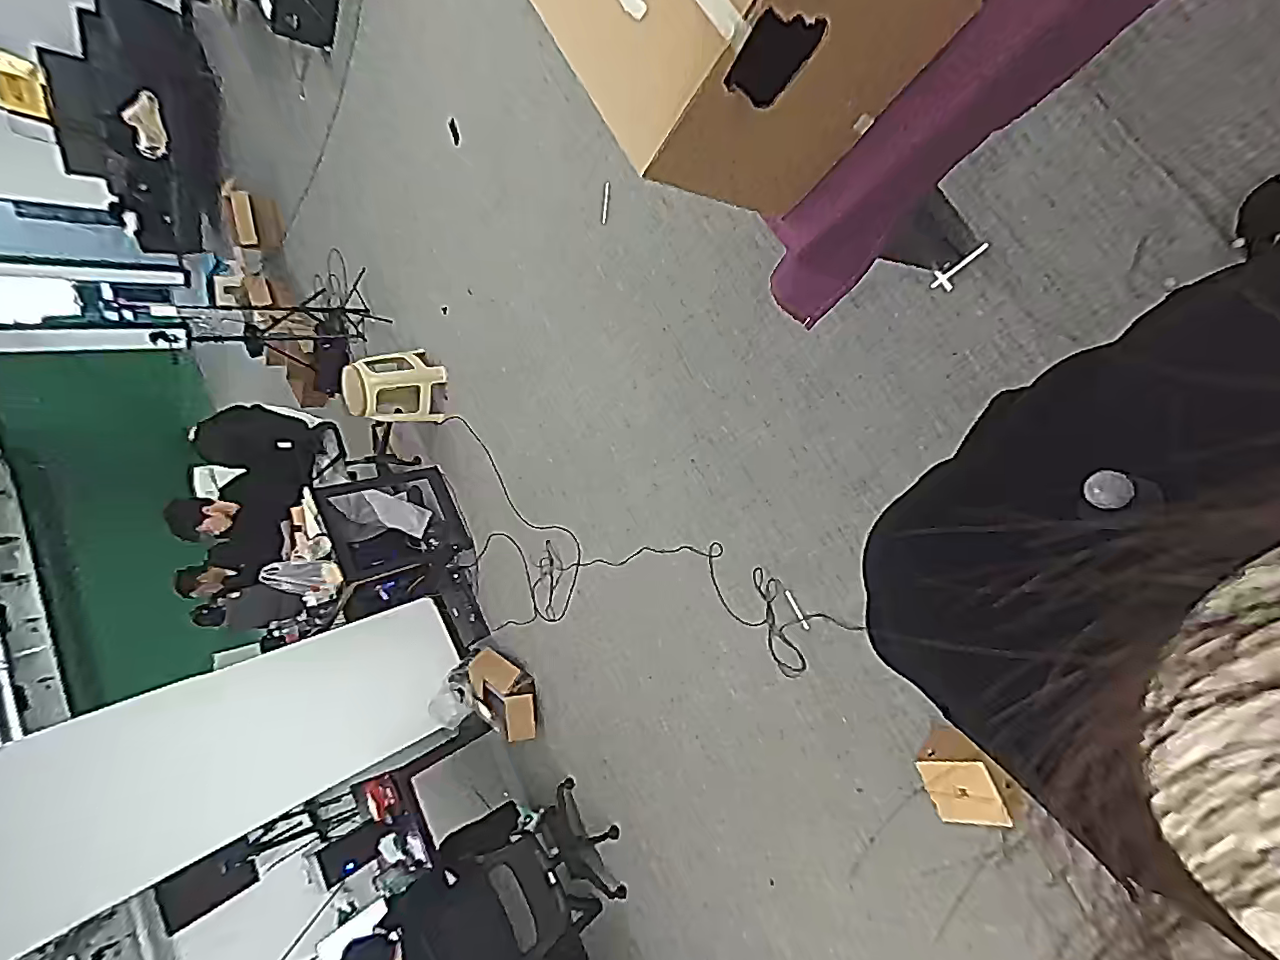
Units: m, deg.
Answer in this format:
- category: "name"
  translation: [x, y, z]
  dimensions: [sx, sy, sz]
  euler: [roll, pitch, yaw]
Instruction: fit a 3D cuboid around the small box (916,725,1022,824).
- category: "small box"
  translation: [0.869, 0.763, 1.419]
  dimensions: [0.179, 0.176, 0.168]
  euler: [-31, 80, 45]
